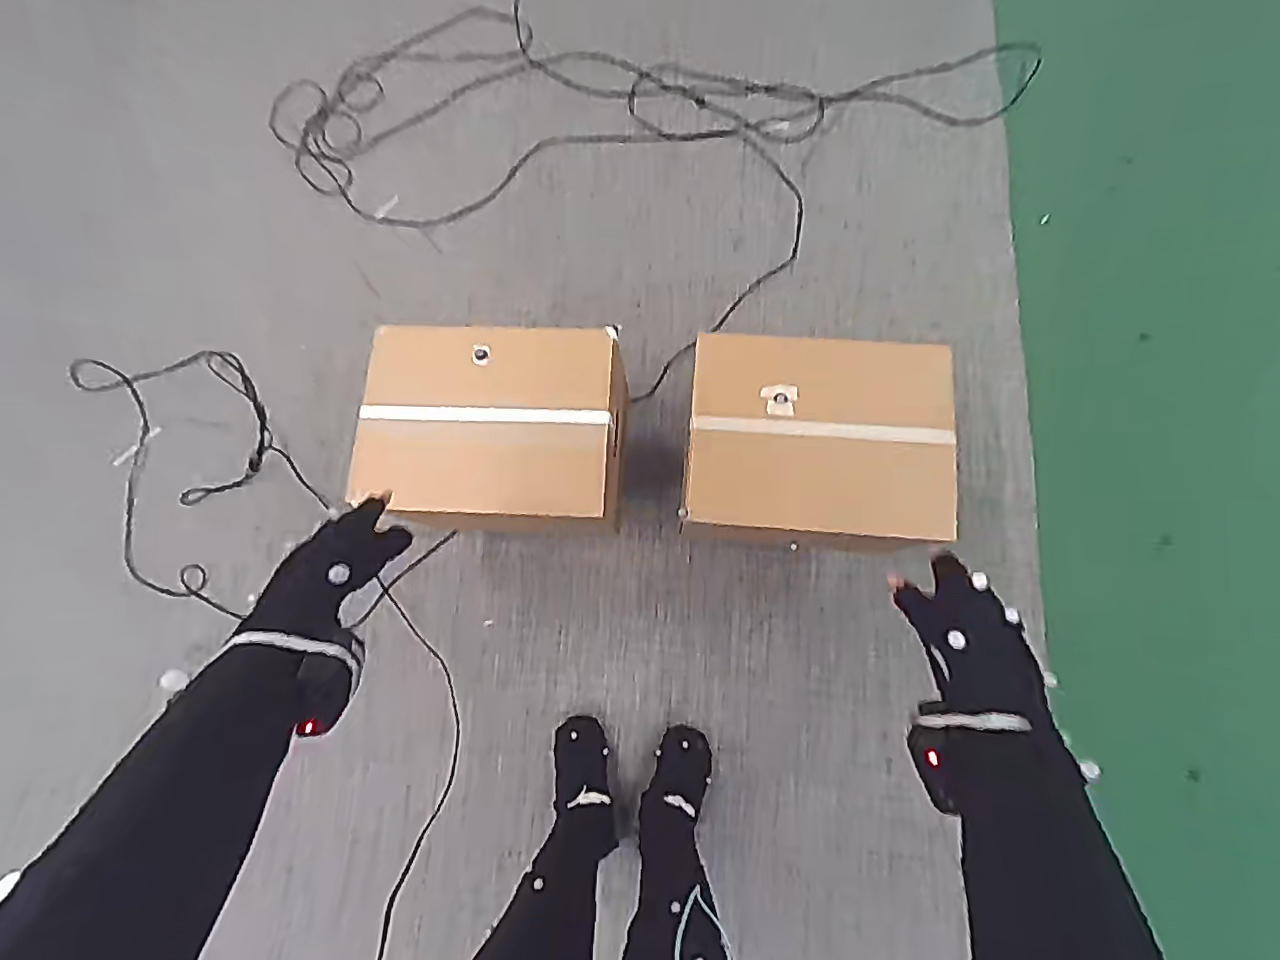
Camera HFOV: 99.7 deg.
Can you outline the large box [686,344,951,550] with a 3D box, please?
[{"bbox_3d":[0.297,-0.039,1.005,0.408,0.320,0.320,4,79,4],"label":"large box"}]
